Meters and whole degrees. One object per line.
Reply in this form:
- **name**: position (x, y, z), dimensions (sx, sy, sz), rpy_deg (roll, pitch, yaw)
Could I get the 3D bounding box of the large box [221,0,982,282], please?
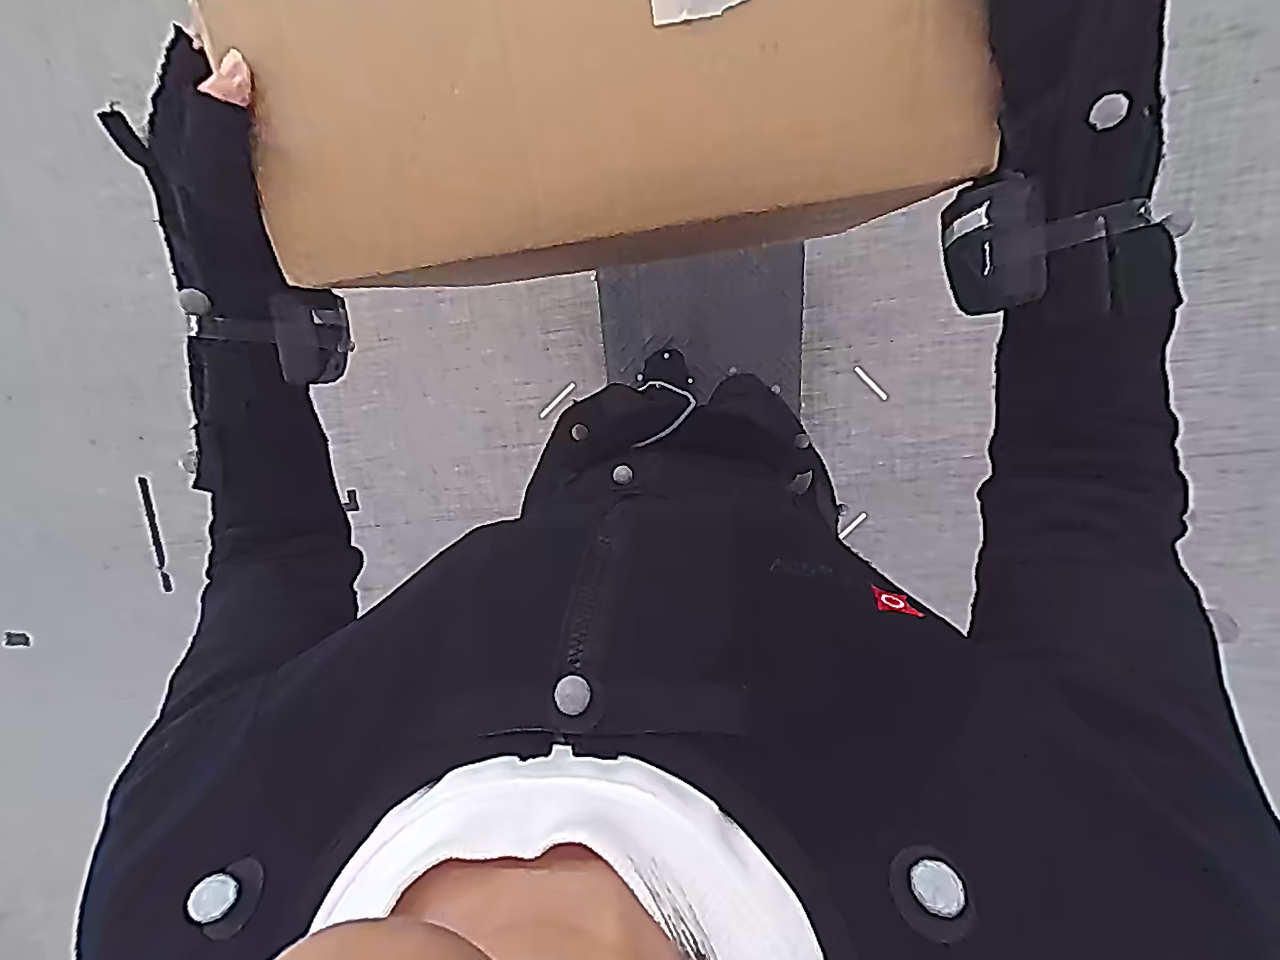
- **large box**: position (-0.024, -0.344, 0.408), dimensions (0.408, 0.320, 0.320), rpy_deg (-6, 110, 8)
